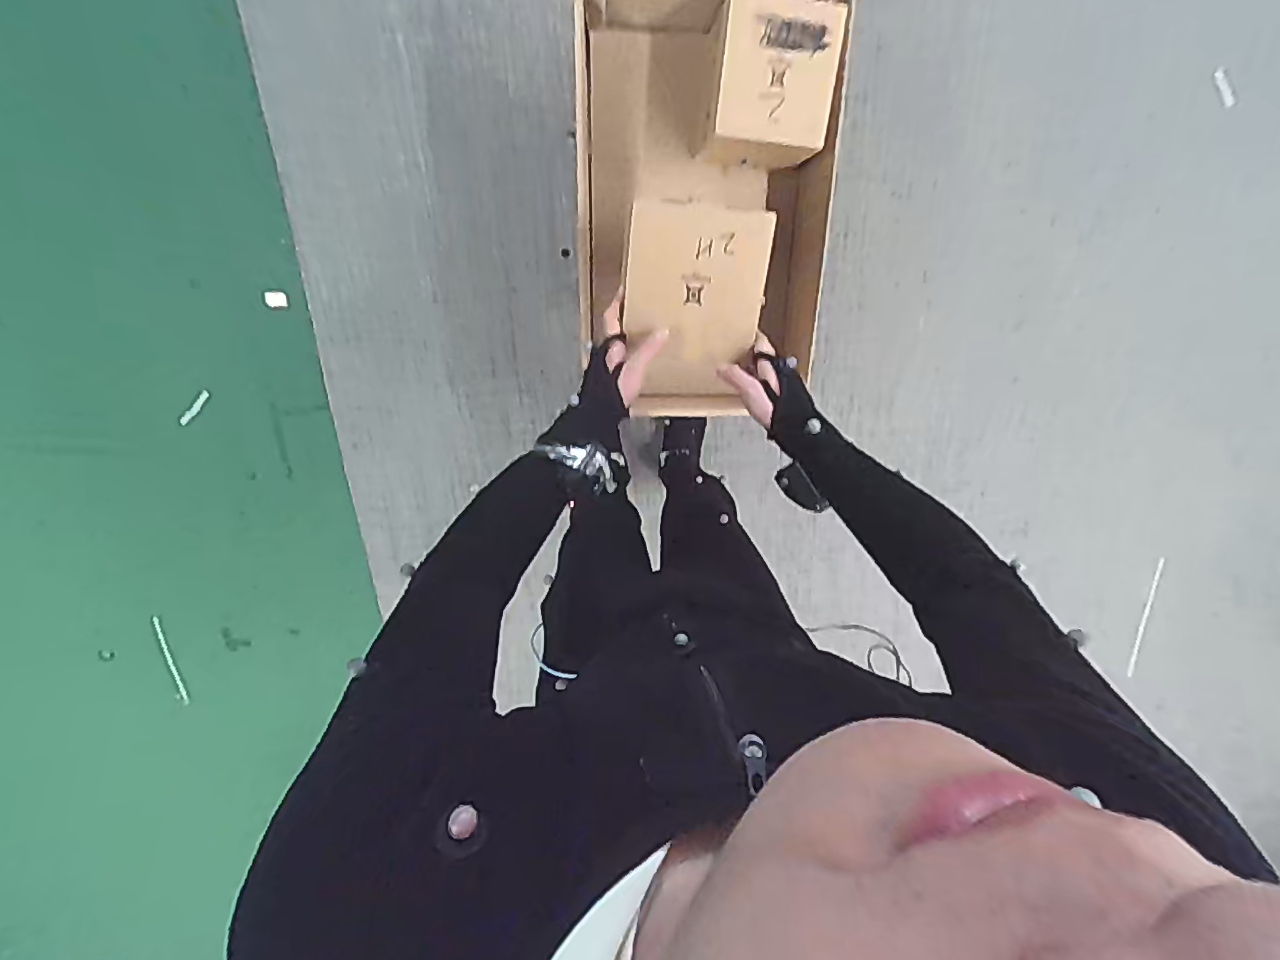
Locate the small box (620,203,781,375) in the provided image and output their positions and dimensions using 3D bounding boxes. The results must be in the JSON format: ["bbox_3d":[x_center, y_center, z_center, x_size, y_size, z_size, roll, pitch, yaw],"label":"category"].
[{"bbox_3d":[0.063,-0.247,0.698,0.168,0.176,0.179,4,114,-6],"label":"small box"}]
